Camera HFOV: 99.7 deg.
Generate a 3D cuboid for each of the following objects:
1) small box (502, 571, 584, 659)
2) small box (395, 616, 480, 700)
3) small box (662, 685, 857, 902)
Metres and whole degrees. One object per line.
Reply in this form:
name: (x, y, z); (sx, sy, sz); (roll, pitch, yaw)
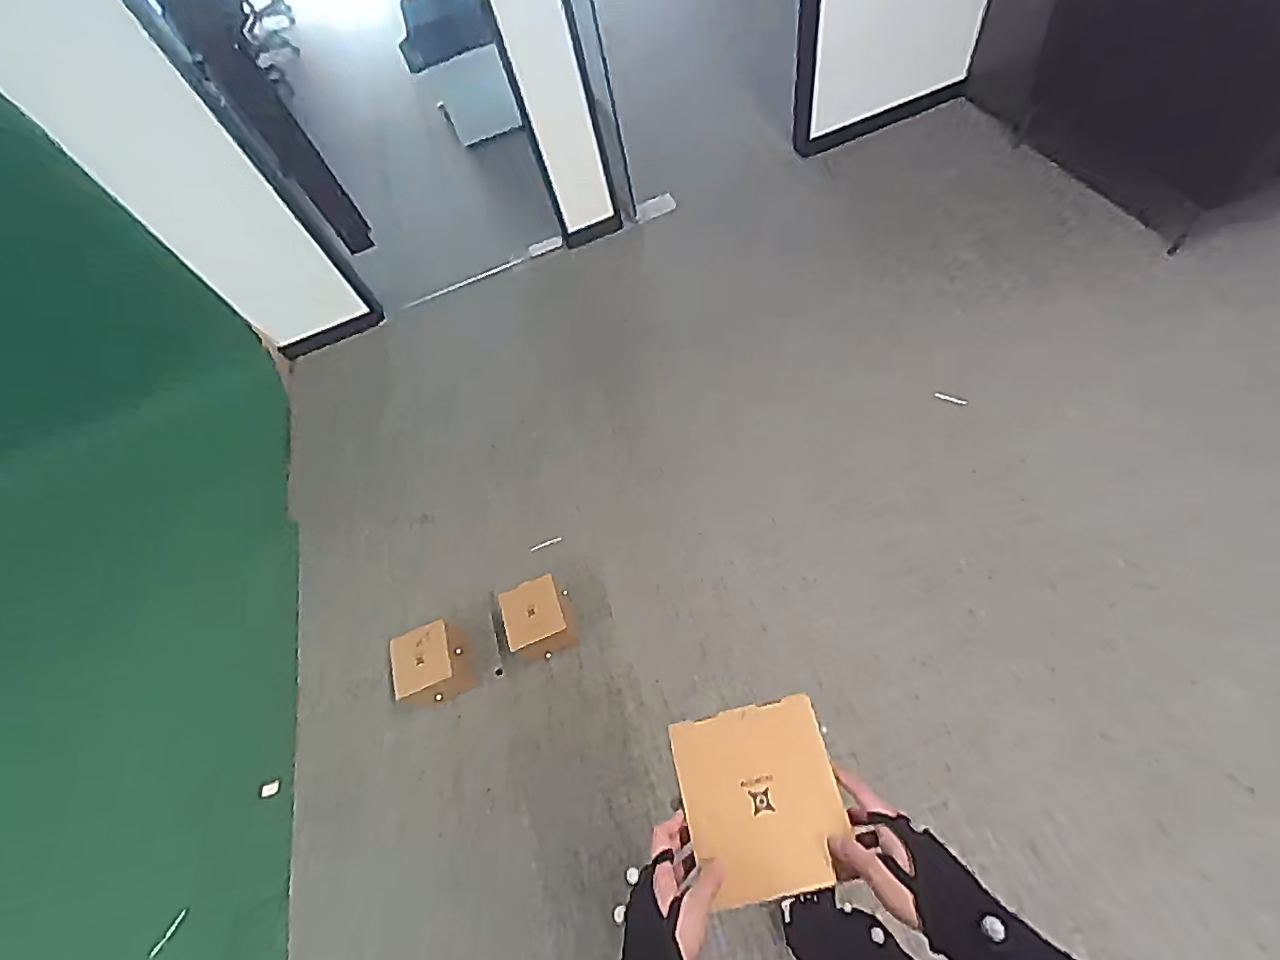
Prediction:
small box: (-0.279, 0.396, 1.572); (0.168, 0.176, 0.179); (-23, 59, 0)
small box: (-0.582, 0.522, 1.565); (0.168, 0.176, 0.179); (-22, 58, -1)
small box: (0.131, 0.358, 0.636); (0.168, 0.176, 0.179); (-14, 60, 1)
